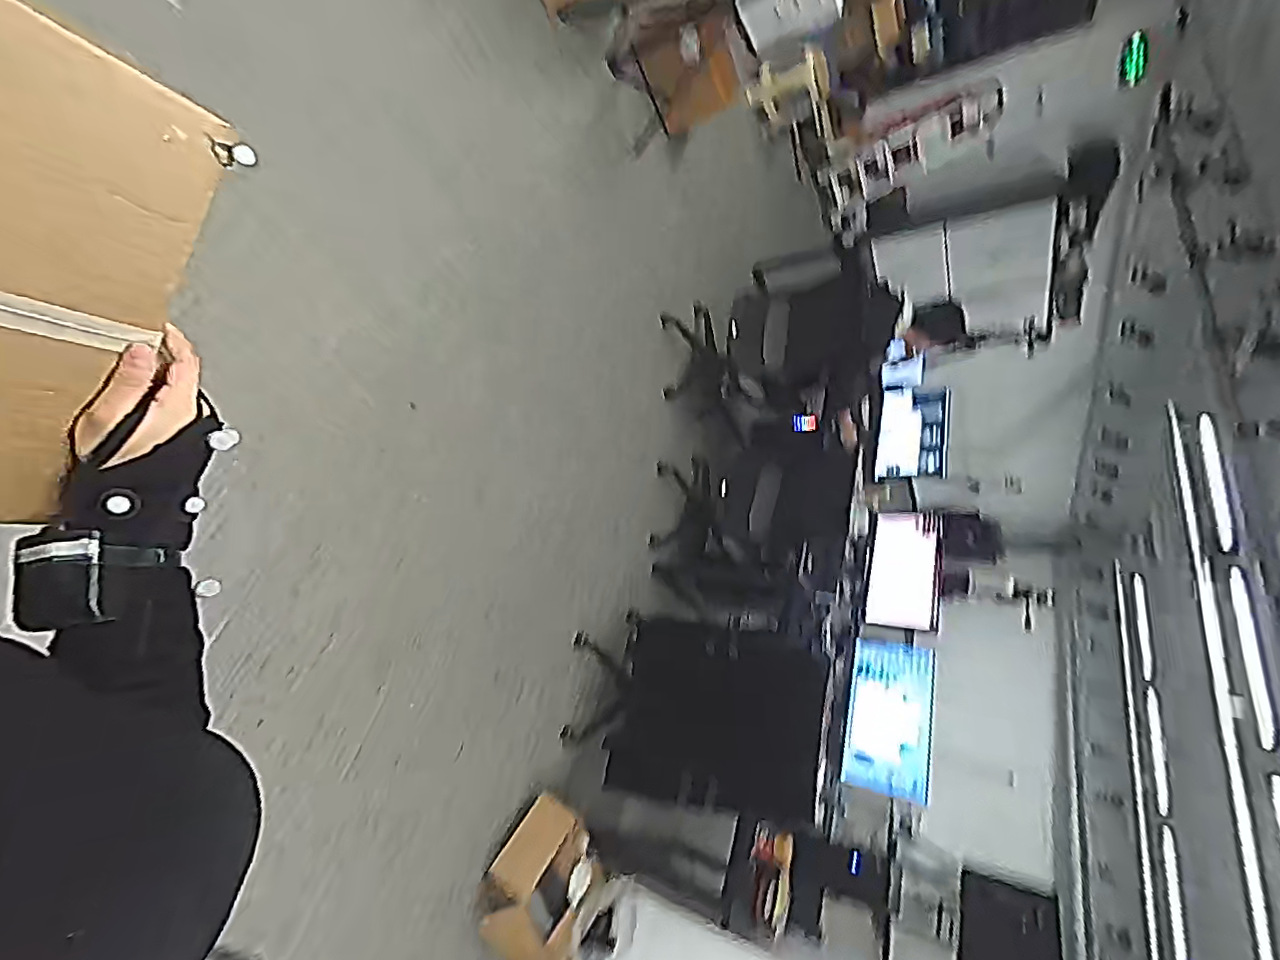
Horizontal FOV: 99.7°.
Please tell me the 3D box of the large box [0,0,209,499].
[{"bbox_3d":[-0.558,-0.206,0.282,0.320,0.320,0.408,-57,152,14],"label":"large box"}]
